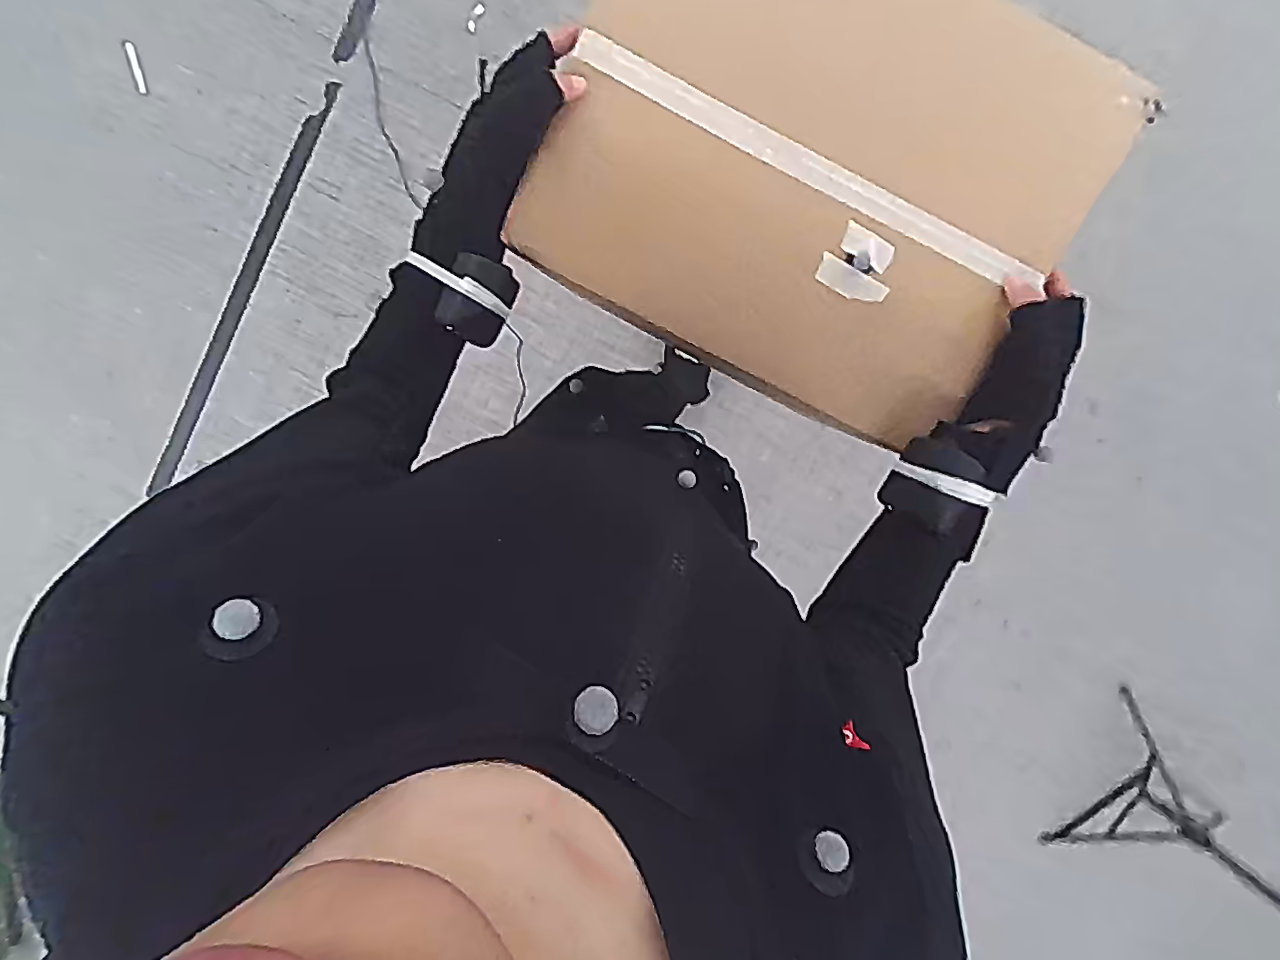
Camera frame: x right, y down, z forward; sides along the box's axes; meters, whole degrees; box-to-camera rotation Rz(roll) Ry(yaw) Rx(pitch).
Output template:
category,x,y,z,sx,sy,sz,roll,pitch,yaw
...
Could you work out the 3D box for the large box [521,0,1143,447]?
category,x,y,z,sx,sy,sz,roll,pitch,yaw
large box,0.147,-0.278,0.577,0.408,0.320,0.320,27,103,-3
